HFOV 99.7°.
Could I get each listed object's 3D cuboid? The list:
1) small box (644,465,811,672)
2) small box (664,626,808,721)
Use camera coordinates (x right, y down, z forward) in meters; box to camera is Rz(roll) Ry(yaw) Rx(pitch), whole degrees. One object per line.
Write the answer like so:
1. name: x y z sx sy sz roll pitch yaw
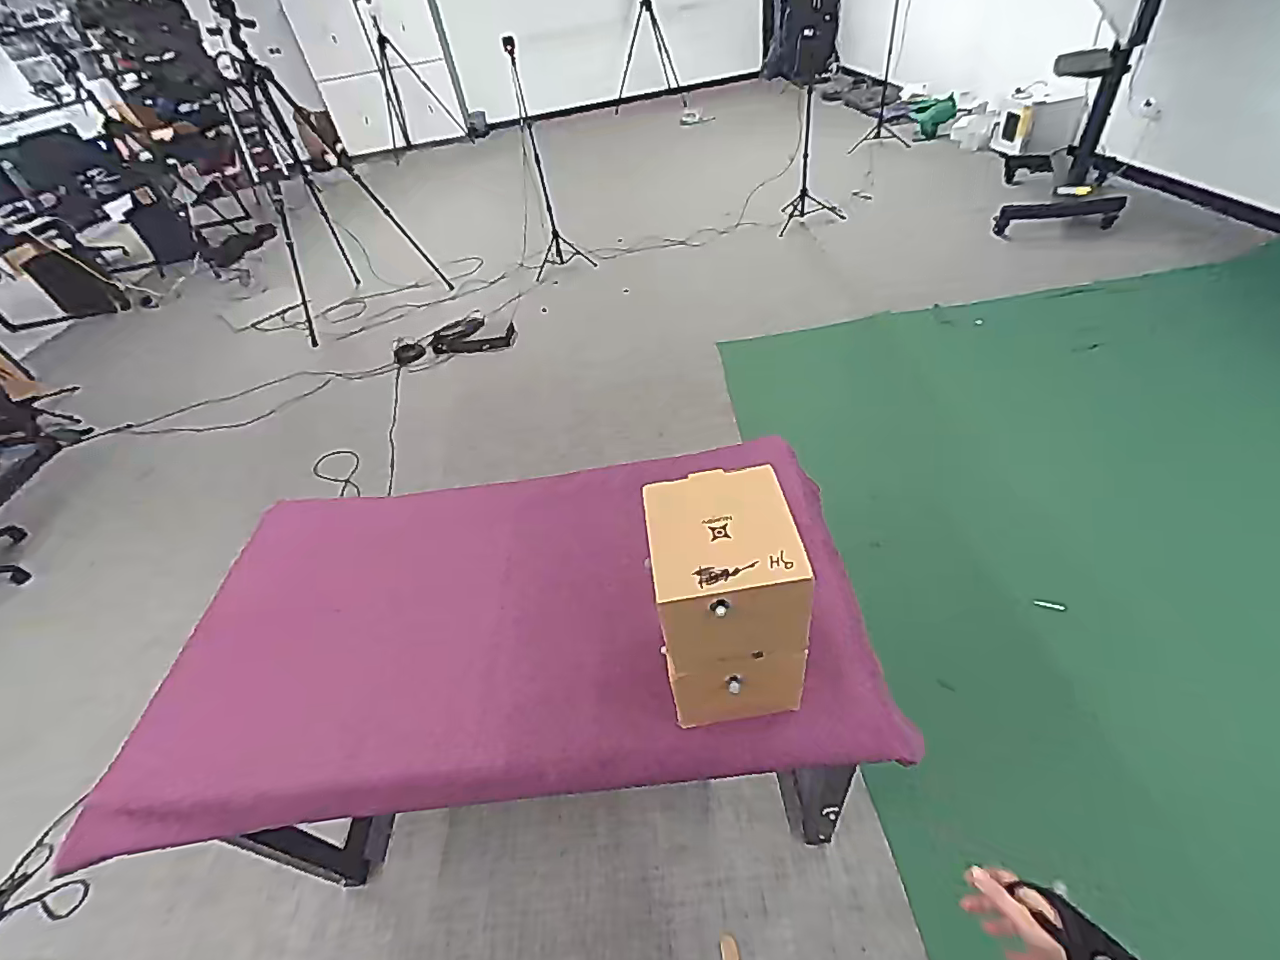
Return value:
1. small box: 0.104 0.111 0.673 0.168 0.176 0.179 -12 44 4
2. small box: 0.130 0.228 0.785 0.179 0.176 0.168 -12 44 4
